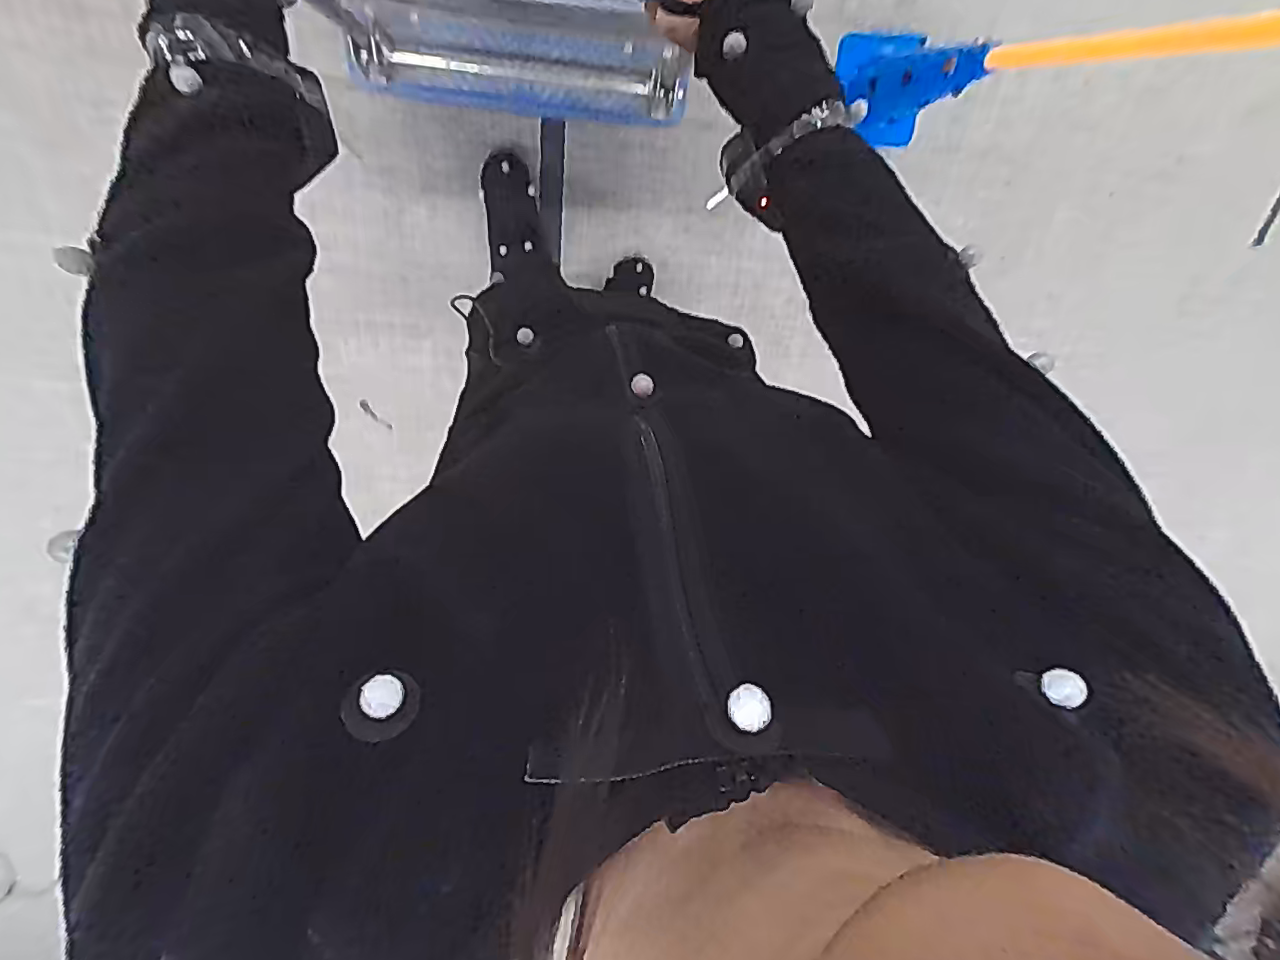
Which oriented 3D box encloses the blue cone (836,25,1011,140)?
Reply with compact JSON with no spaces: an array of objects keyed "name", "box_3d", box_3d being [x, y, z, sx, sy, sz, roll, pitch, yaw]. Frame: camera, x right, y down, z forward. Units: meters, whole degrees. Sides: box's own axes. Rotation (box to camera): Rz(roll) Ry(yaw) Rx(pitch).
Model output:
[{"name":"blue cone","box_3d":[0.536,-0.761,1.006,0.193,0.380,0.192,-2,118,-7]}]
